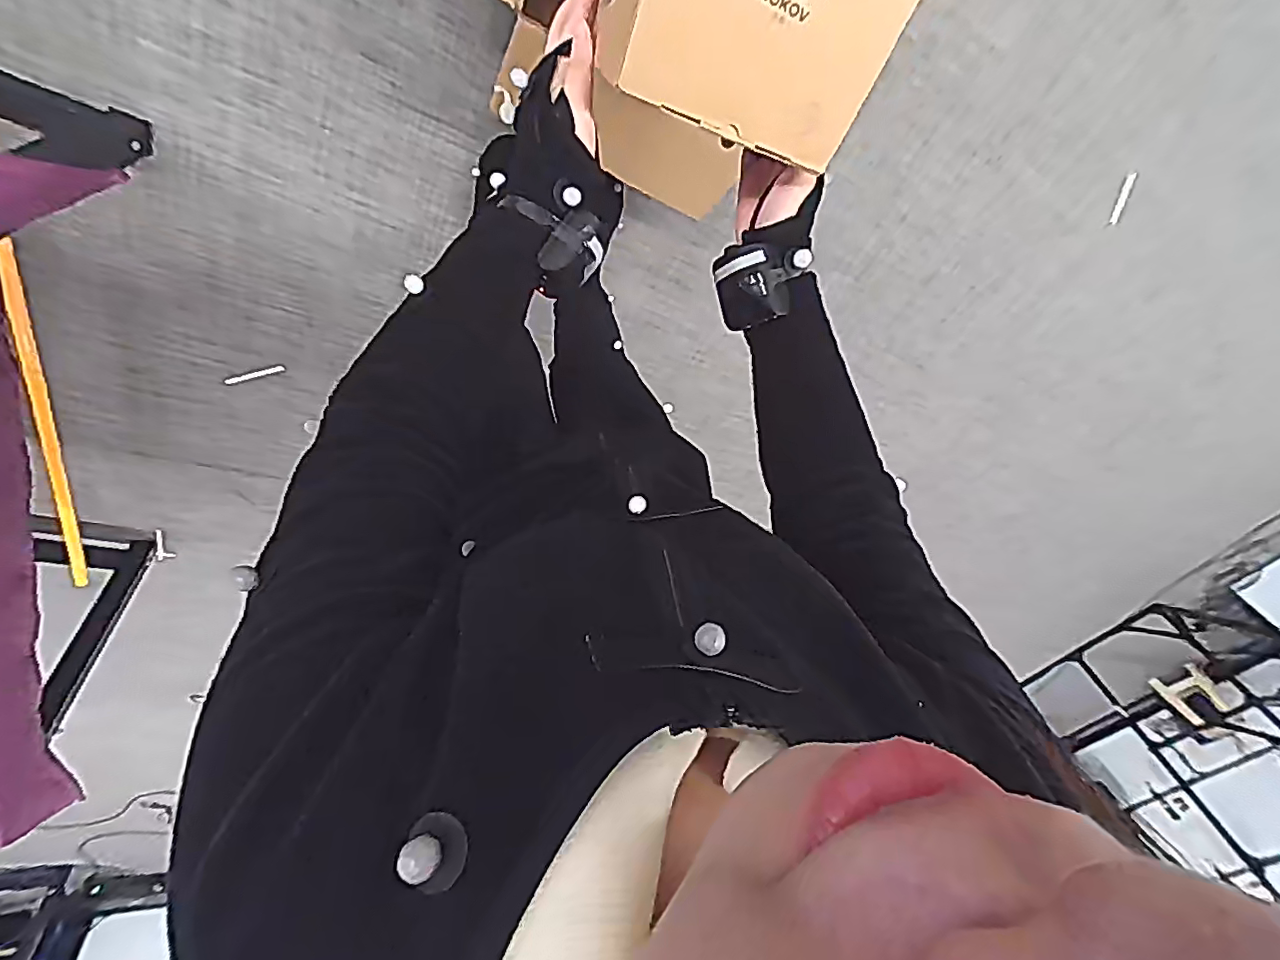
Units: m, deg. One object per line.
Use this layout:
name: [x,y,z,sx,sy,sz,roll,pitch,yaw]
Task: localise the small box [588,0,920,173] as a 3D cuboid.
small box: [0.072,-0.347,0.358,0.168,0.176,0.179,6,134,-25]
